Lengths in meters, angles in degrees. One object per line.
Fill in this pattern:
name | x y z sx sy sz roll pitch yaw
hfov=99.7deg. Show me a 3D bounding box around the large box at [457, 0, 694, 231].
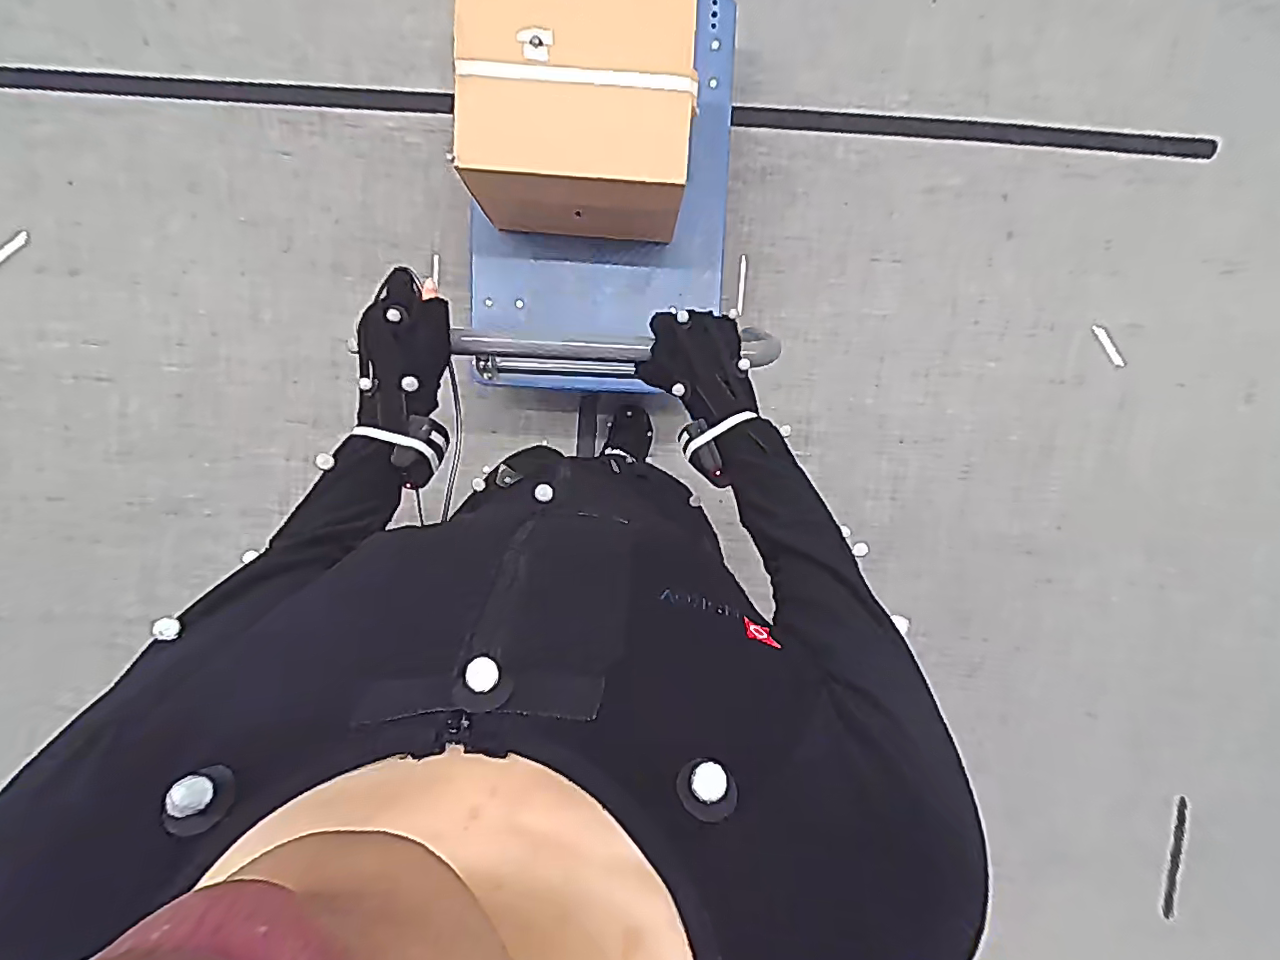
large box | -0.112 -0.705 1.065 0.408 0.320 0.320 3 96 -1
